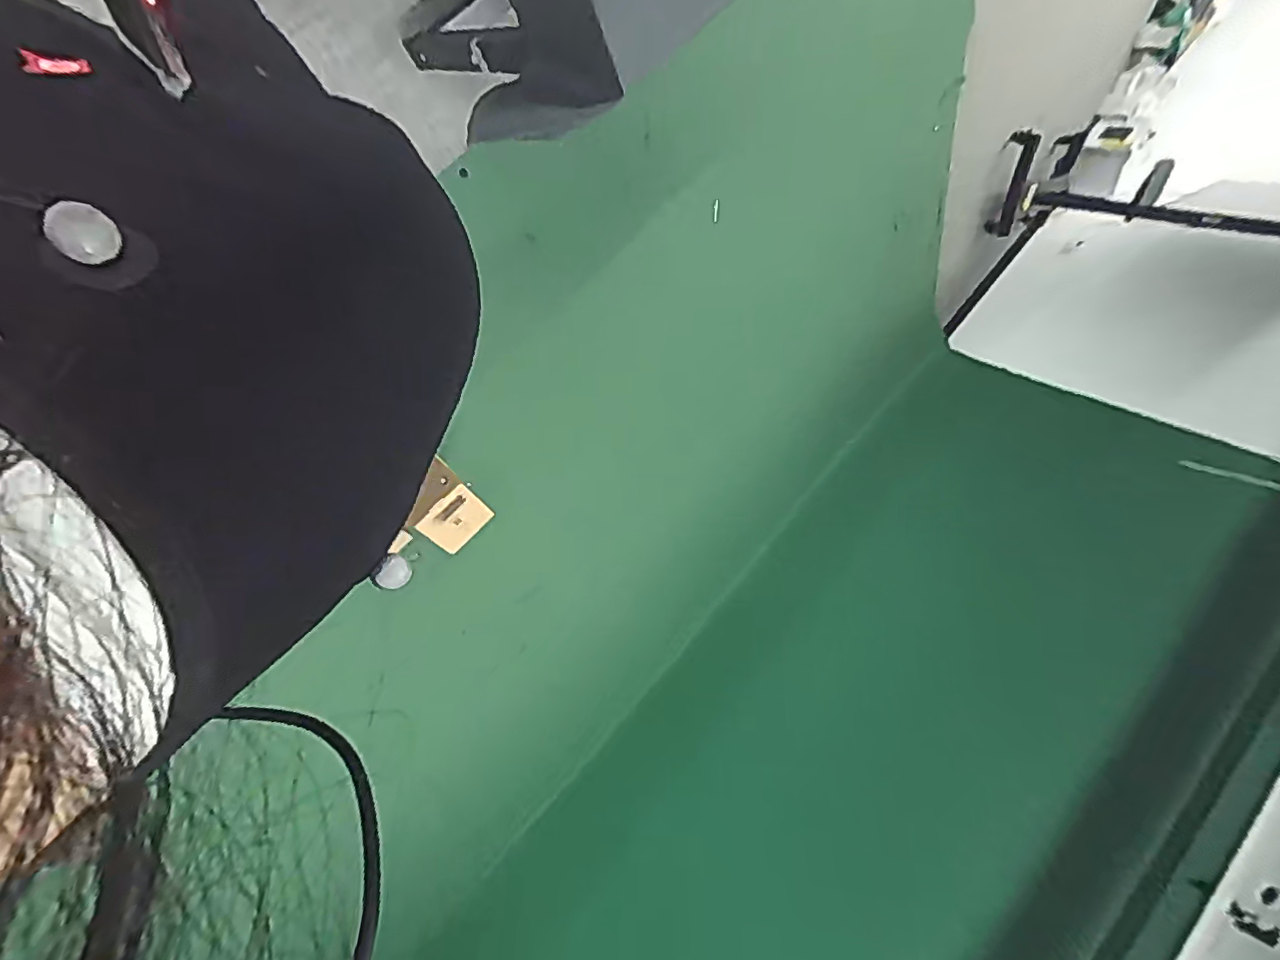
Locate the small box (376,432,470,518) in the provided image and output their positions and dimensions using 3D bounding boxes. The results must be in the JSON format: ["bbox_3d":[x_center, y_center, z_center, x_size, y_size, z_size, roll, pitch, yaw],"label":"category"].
[{"bbox_3d":[-0.657,-0.022,1.629,0.168,0.176,0.179,-44,143,-13],"label":"small box"}]
